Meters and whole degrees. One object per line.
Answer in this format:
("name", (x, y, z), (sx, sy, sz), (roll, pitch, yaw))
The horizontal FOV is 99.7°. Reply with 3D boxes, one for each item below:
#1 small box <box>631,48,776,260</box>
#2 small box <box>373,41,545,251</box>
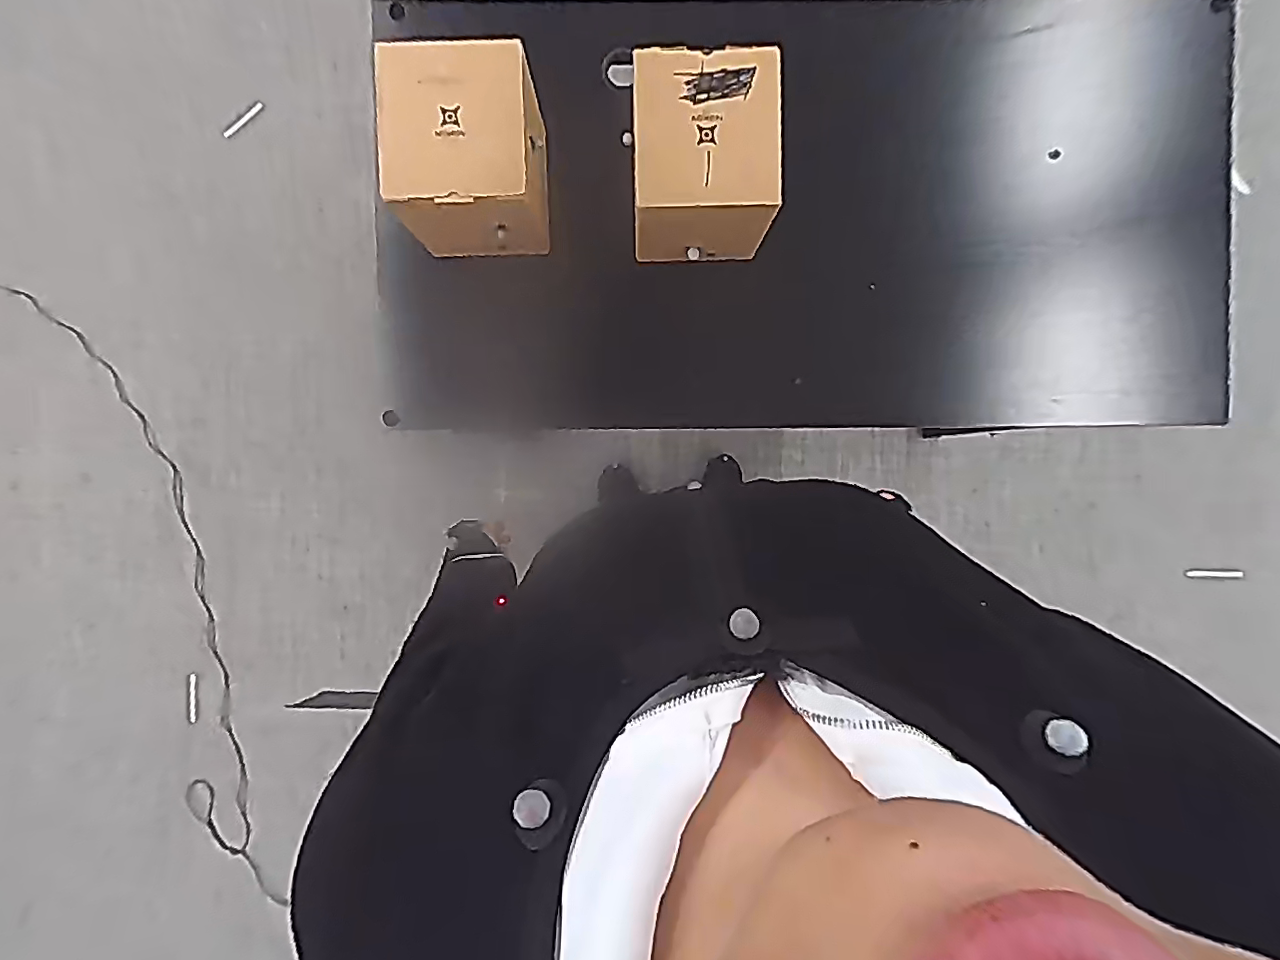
("small box", (0.071, -0.399, 0.688), (0.168, 0.176, 0.179), (-1, 92, 0))
("small box", (-0.216, -0.406, 0.688), (0.168, 0.176, 0.179), (-2, 91, -1))
